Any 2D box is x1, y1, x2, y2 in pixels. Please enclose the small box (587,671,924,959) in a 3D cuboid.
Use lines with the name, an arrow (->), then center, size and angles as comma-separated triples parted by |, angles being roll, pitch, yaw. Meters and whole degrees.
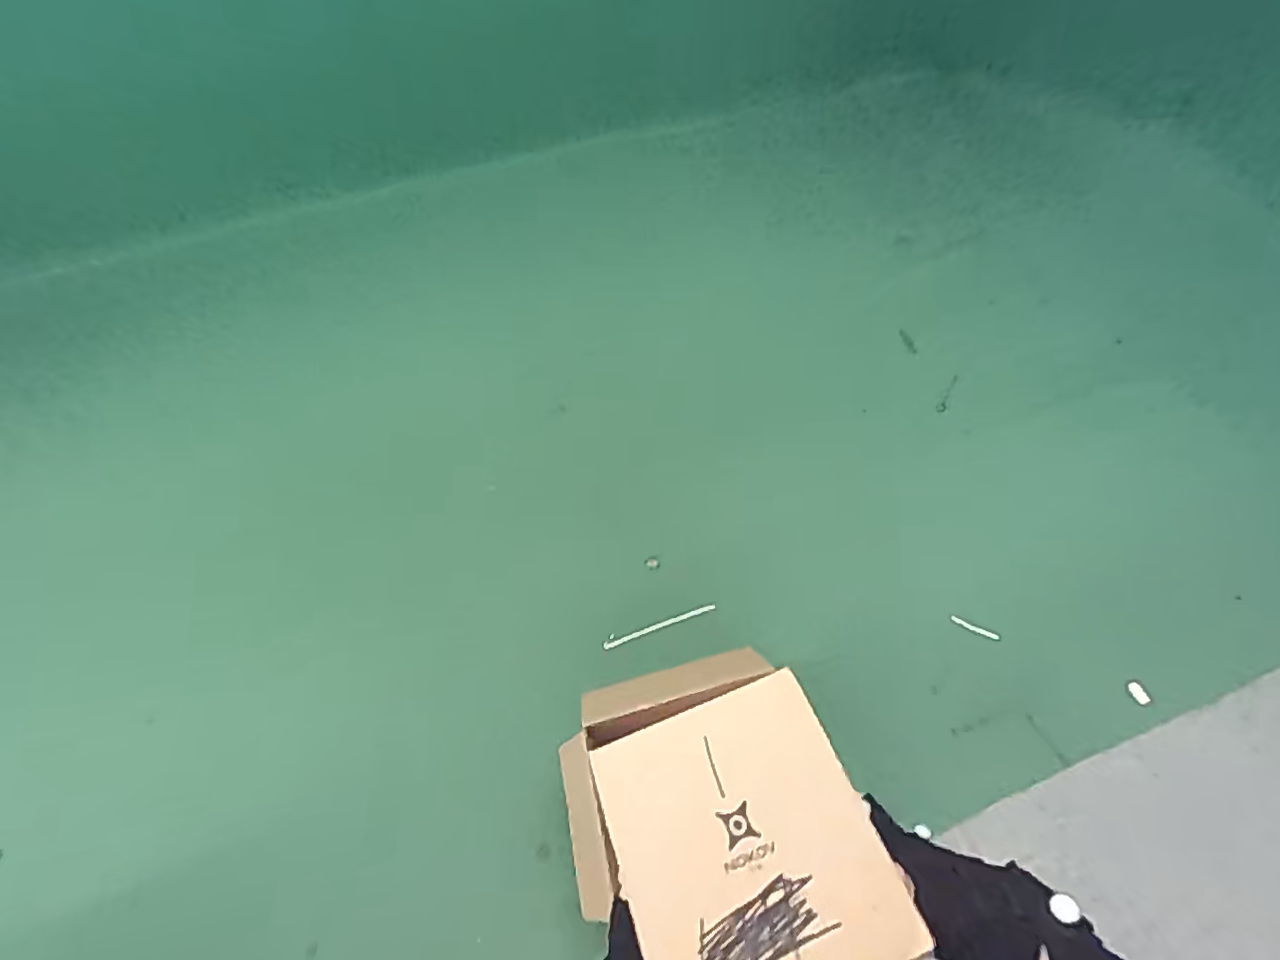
small box -> 0.075, 0.276, 0.417 | 0.168, 0.176, 0.179 | -20, 56, -4
